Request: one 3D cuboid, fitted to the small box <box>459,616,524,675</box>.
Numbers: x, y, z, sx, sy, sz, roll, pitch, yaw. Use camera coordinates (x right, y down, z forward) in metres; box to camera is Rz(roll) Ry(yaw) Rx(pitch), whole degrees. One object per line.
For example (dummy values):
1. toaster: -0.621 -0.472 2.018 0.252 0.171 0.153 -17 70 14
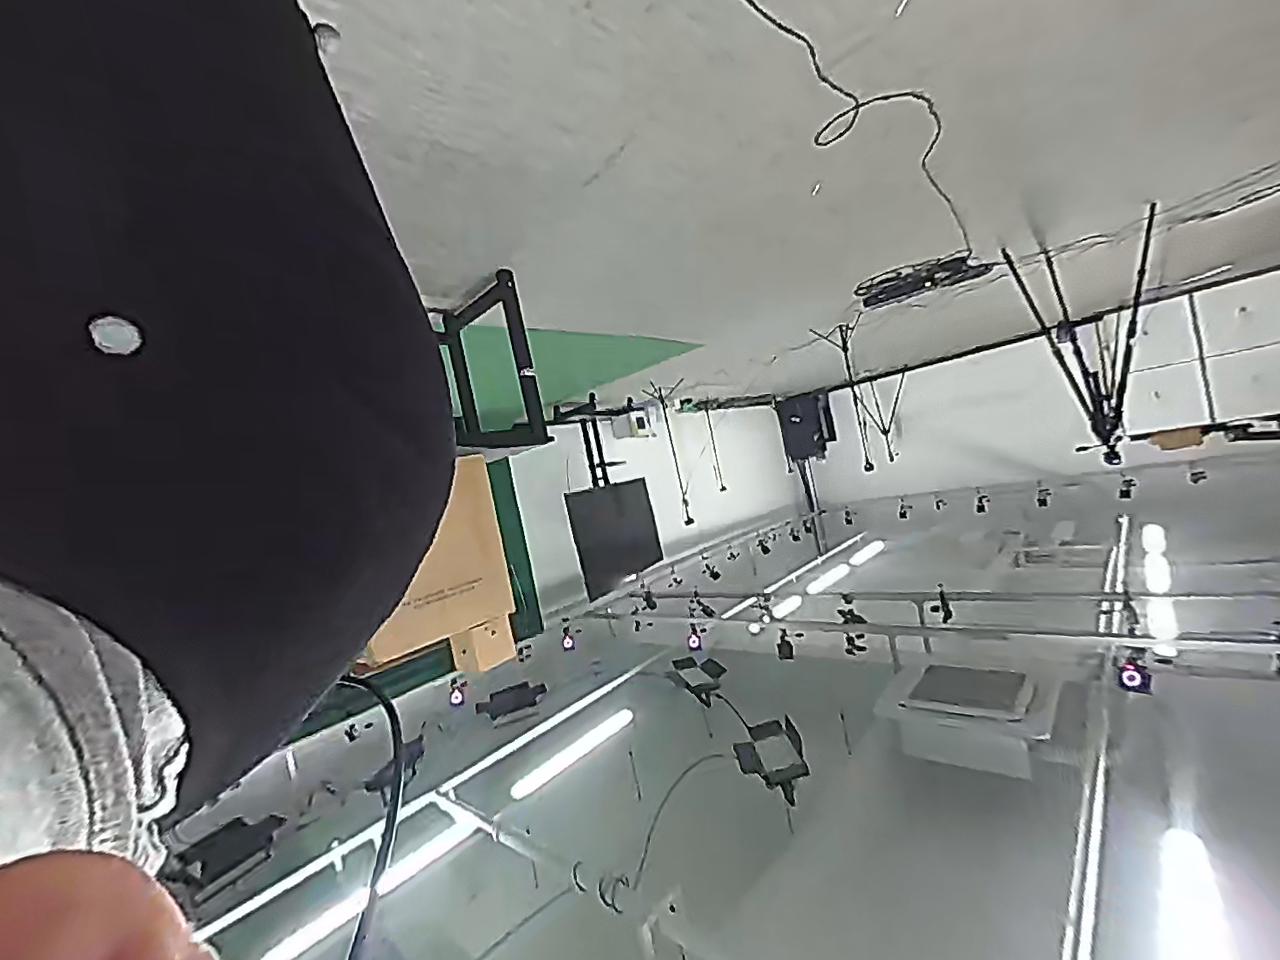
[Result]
1. small box: -0.575 0.630 2.075 0.179 0.176 0.168 -14 -179 42
